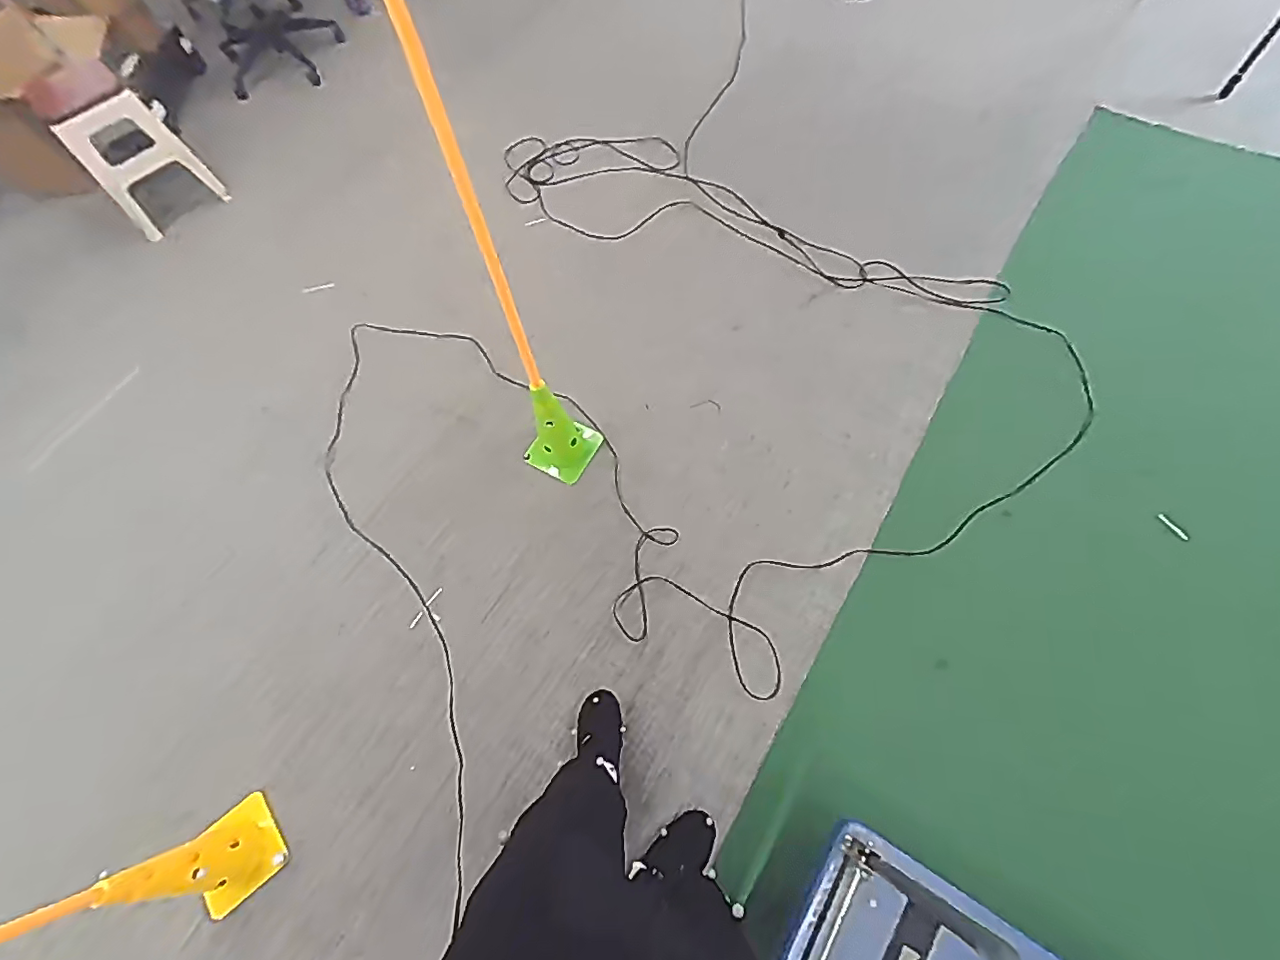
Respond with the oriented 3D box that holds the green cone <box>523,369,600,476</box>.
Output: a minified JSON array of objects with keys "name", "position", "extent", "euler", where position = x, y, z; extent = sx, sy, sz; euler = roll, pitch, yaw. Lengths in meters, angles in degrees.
[{"name":"green cone","position":[-0.262,-0.195,1.580],"extent":[0.200,0.368,0.202],"euler":[25,69,15]}]
